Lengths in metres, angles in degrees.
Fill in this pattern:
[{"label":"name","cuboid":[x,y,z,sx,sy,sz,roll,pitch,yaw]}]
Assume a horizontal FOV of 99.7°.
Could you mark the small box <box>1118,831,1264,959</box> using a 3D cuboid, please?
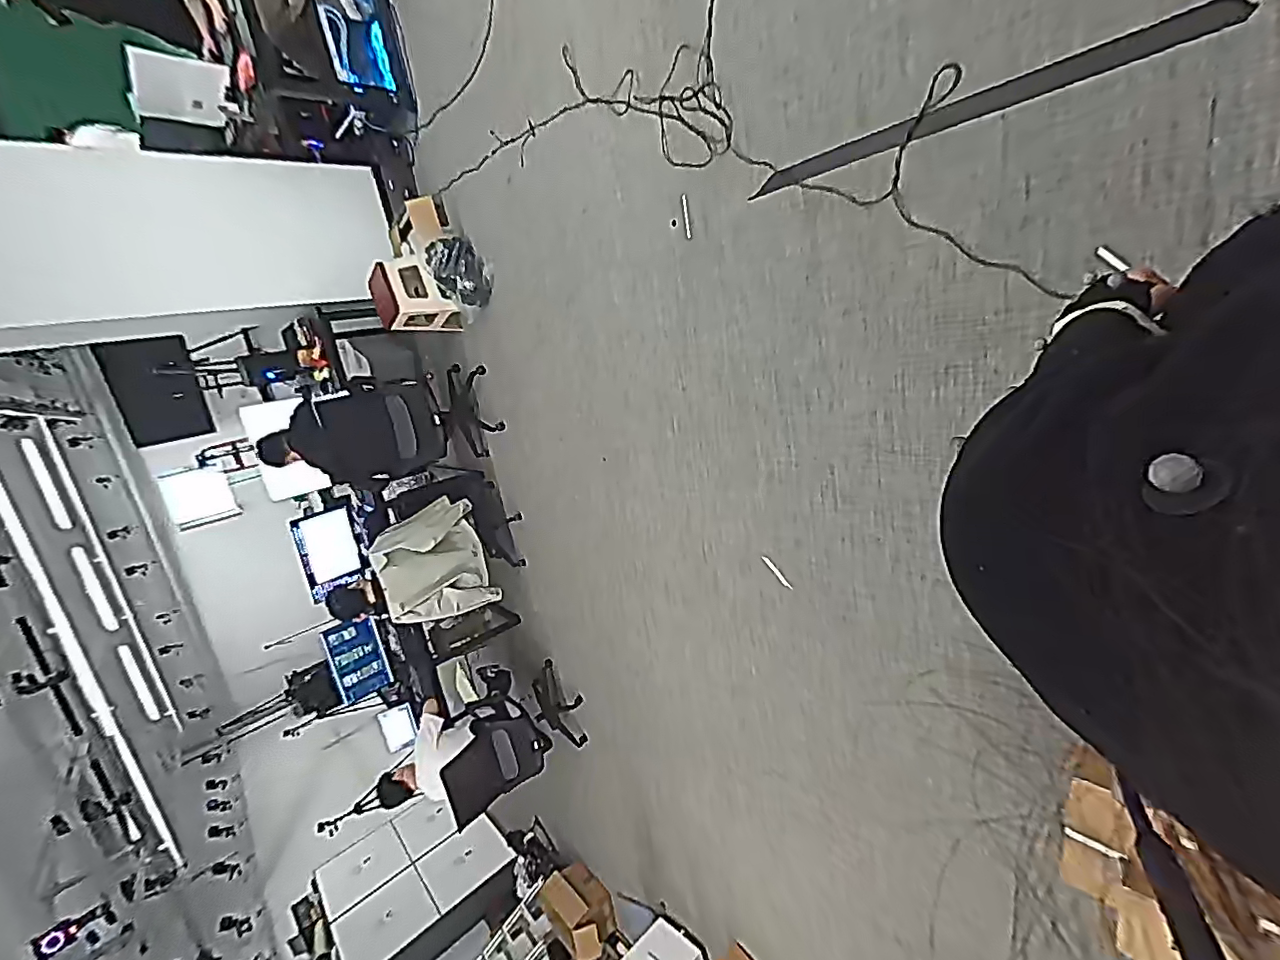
[{"label":"small box","cuboid":[1.031,0.813,1.014,0.179,0.176,0.168,6,110,50]}]
